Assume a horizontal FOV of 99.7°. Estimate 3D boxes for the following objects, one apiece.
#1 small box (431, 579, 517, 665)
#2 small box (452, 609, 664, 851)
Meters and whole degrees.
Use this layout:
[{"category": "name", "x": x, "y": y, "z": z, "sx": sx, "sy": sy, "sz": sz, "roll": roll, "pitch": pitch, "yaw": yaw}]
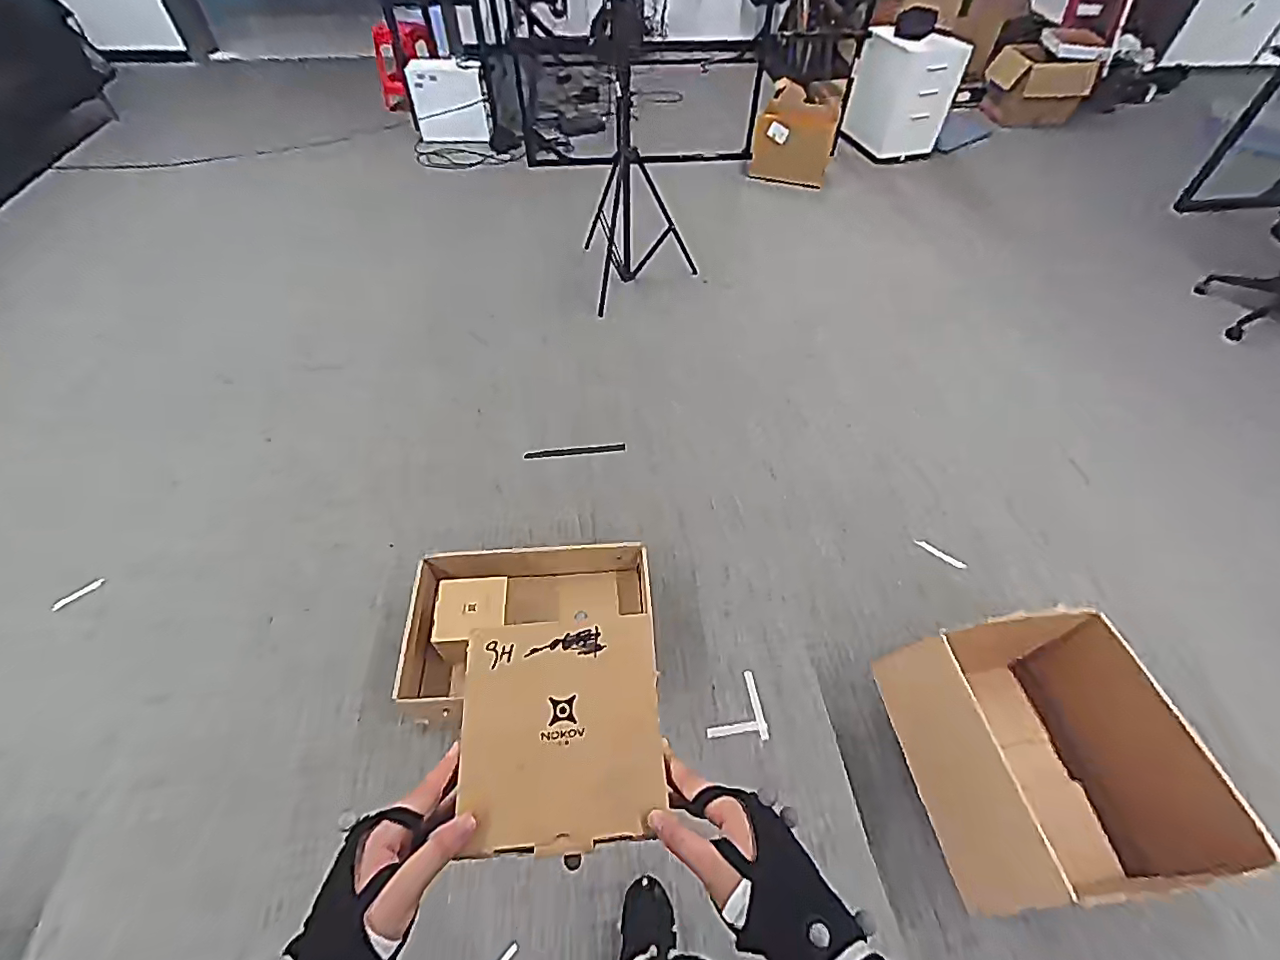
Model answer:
[{"category": "small box", "x": -0.428, "y": 0.376, "z": 1.420, "sx": 0.179, "sy": 0.176, "sz": 0.168, "roll": -3, "pitch": 54, "yaw": -5}, {"category": "small box", "x": -0.069, "y": 0.240, "z": 0.520, "sx": 0.168, "sy": 0.176, "sz": 0.179, "roll": -4, "pitch": 57, "yaw": -4}]
